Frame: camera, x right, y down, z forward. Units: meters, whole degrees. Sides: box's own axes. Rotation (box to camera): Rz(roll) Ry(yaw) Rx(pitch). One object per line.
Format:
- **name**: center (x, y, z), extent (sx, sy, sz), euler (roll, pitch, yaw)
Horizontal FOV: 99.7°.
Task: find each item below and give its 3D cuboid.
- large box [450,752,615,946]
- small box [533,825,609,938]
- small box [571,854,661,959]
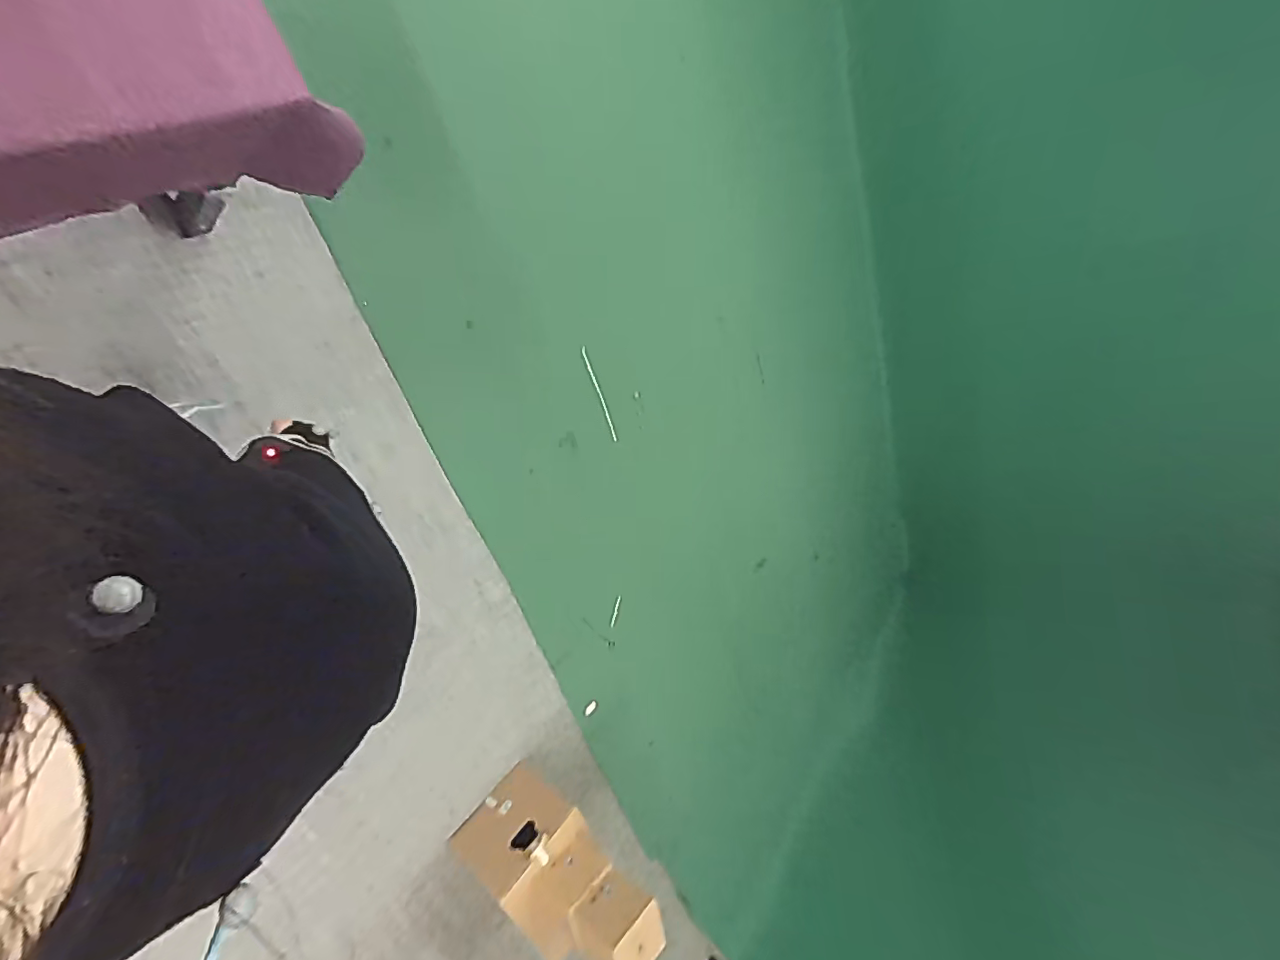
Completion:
- **large box**: center (-0.350, 1.203, 1.791), extent (0.320, 0.320, 0.408), euler (-41, 123, -35)
- **small box**: center (-0.189, 1.177, 1.603), extent (0.168, 0.176, 0.179), euler (-29, 114, -40)
- **small box**: center (-0.066, 1.197, 1.497), extent (0.168, 0.176, 0.179), euler (-25, 111, -42)
